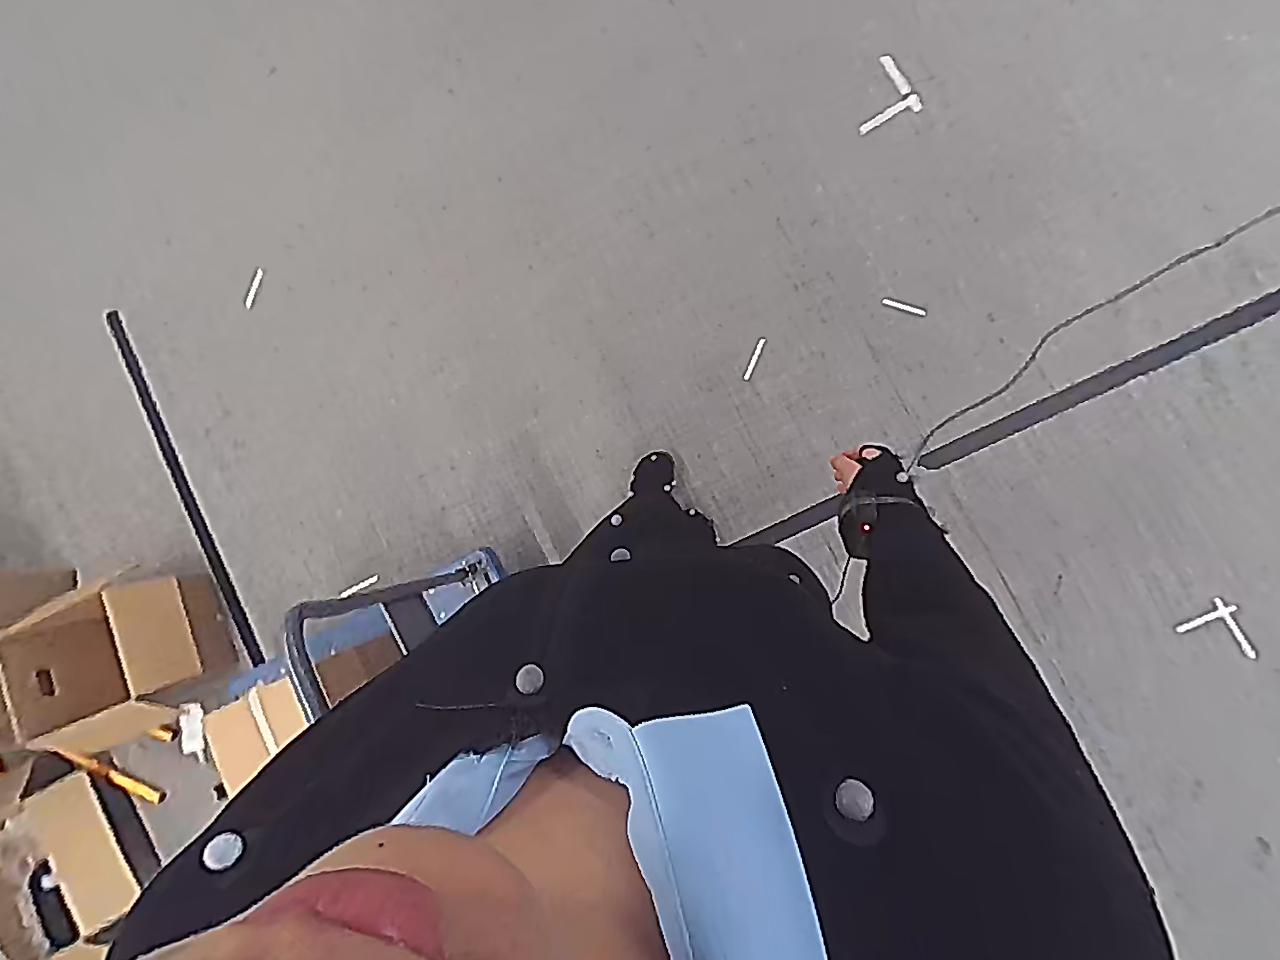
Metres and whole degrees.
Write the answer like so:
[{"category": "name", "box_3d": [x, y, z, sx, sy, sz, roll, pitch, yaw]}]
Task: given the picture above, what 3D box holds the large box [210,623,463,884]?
[{"category": "large box", "box_3d": [-0.697, 0.617, 1.290, 0.320, 0.320, 0.408, -27, 85, 9]}]
